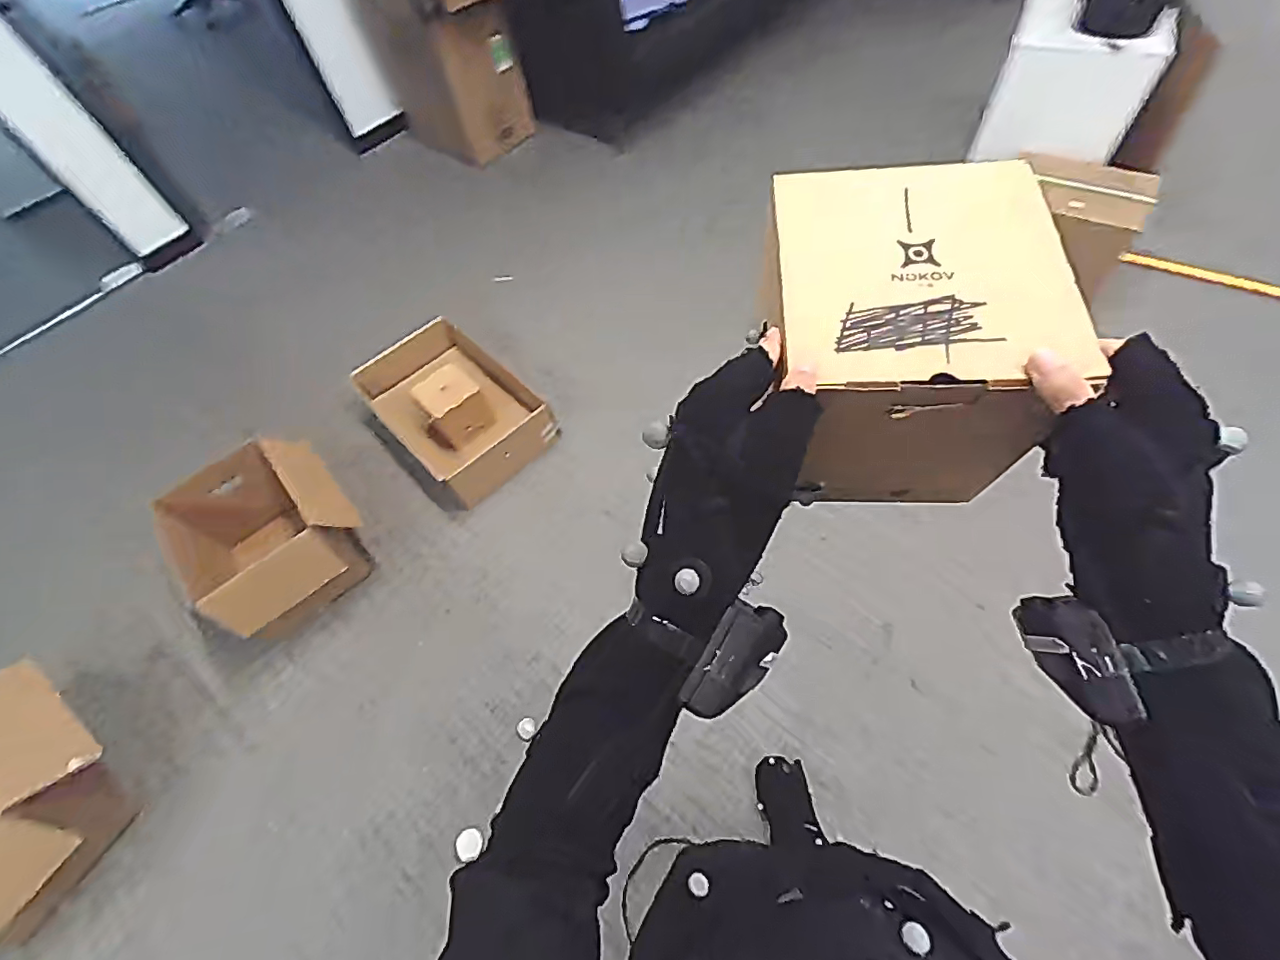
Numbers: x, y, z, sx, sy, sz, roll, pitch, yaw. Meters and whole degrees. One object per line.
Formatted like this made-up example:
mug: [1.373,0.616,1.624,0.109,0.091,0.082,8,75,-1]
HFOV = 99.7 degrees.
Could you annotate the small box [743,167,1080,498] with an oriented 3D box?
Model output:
small box: [0.167,-0.095,0.403,0.168,0.176,0.179,0,63,6]

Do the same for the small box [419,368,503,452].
small box: [-0.580,-0.225,1.767,0.168,0.176,0.179,-41,61,-18]
